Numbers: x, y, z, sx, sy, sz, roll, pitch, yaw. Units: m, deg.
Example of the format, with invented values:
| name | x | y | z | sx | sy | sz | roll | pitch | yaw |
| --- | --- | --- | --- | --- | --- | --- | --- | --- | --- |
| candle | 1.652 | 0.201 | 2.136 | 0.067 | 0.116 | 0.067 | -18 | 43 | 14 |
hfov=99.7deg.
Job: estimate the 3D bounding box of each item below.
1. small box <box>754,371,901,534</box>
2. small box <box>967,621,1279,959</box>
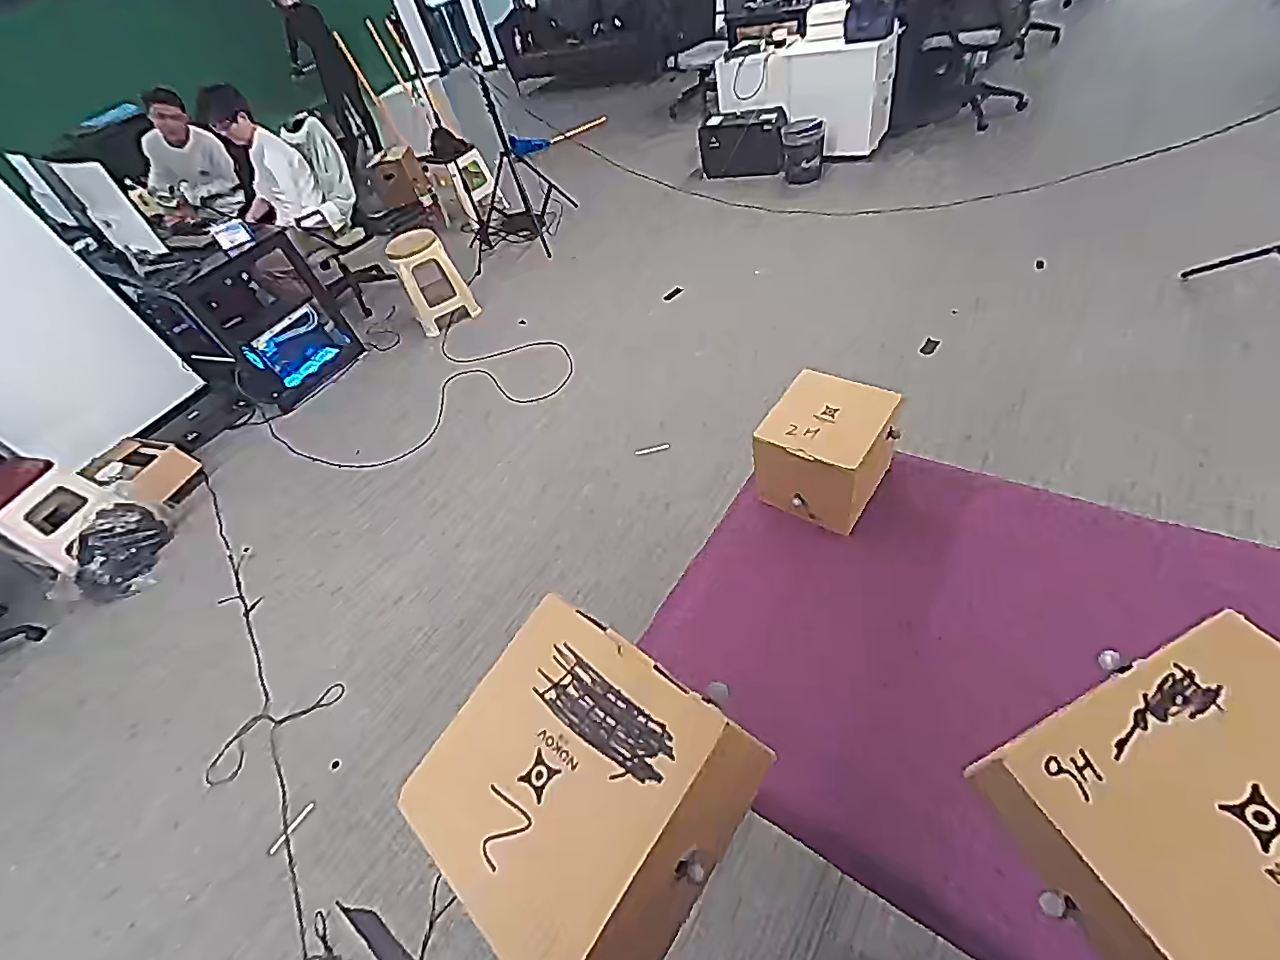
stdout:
| name | x | y | z | sx | sy | sz | roll | pitch | yaw |
| --- | --- | --- | --- | --- | --- | --- | --- | --- | --- |
| small box | 0.304 | -0.046 | 0.895 | 0.168 | 0.176 | 0.179 | 25 | 62 | 32 |
| small box | 0.346 | 0.222 | 0.338 | 0.168 | 0.176 | 0.179 | -32 | 53 | 1 |
